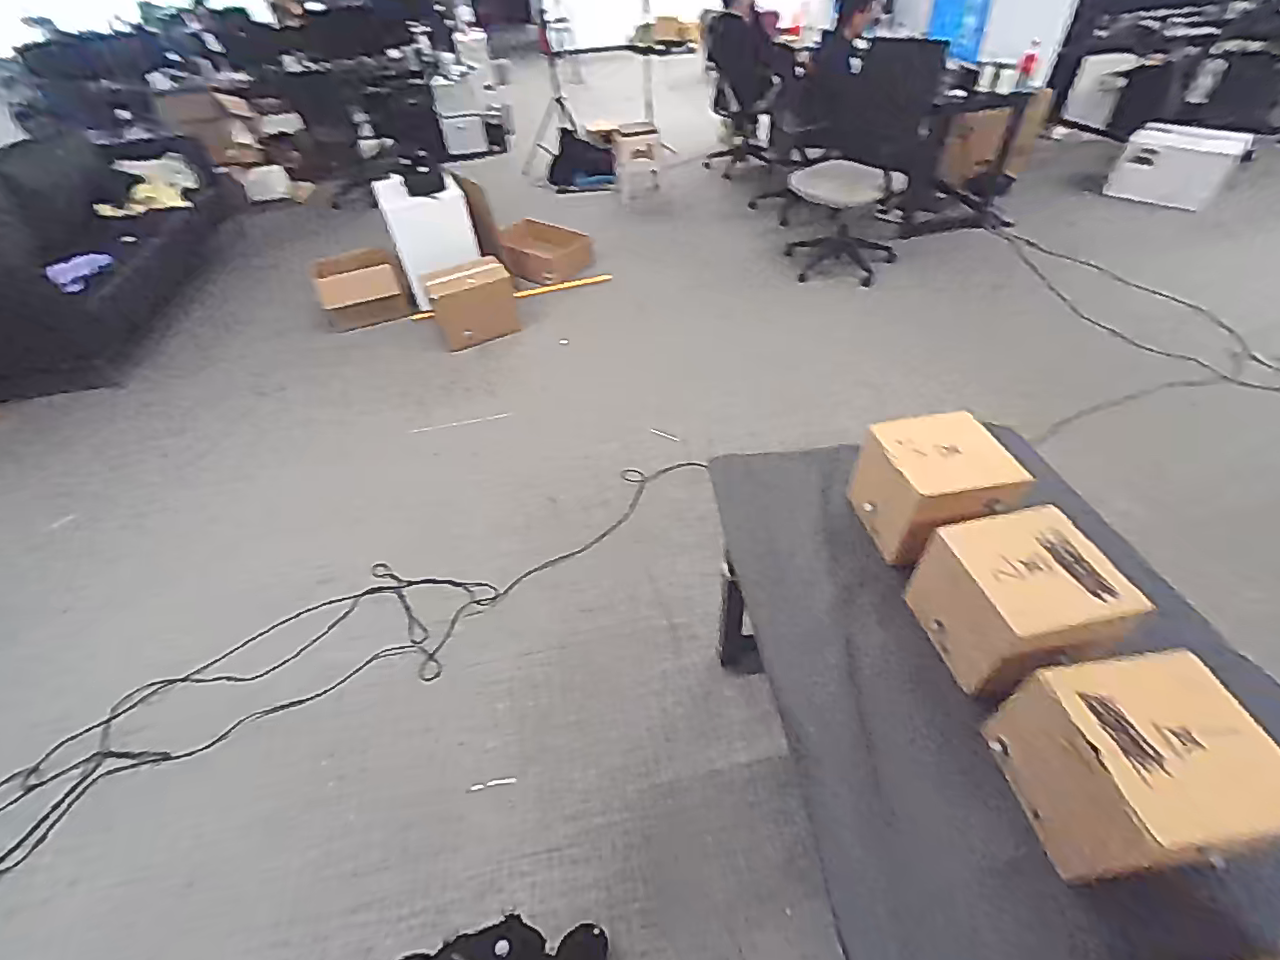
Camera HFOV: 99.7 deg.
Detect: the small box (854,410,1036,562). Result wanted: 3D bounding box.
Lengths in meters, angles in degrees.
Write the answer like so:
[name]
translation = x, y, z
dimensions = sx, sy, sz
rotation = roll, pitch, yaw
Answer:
[small box]
translation = 0.477, 0.012, 0.880
dimensions = 0.179, 0.176, 0.168
rotation = -9, 45, -4
